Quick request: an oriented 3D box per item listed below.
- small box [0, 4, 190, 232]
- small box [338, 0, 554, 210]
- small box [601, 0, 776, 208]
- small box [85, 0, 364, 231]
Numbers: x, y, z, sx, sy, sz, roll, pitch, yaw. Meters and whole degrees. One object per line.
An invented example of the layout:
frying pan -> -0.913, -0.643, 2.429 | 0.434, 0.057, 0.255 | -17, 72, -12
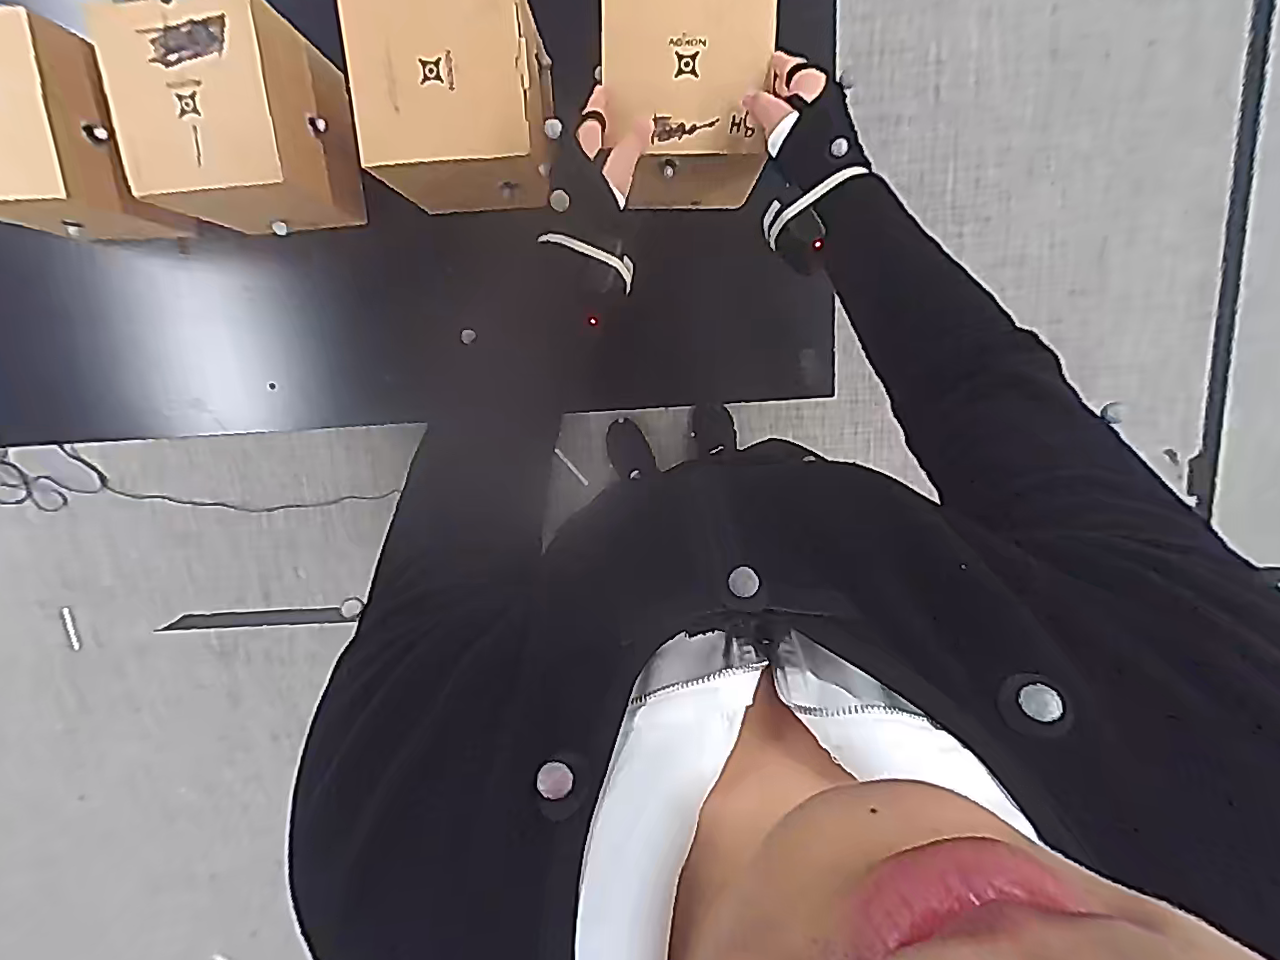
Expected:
small box -> -0.668, -0.392, 0.621 | 0.168, 0.176, 0.179 | -1, 102, 1
small box -> -0.196, -0.417, 0.604 | 0.179, 0.176, 0.168 | -3, 100, 3
small box -> 0.044, -0.419, 0.589 | 0.168, 0.176, 0.179 | 0, 99, 1
small box -> -0.444, -0.399, 0.612 | 0.168, 0.176, 0.179 | -5, 103, 2
